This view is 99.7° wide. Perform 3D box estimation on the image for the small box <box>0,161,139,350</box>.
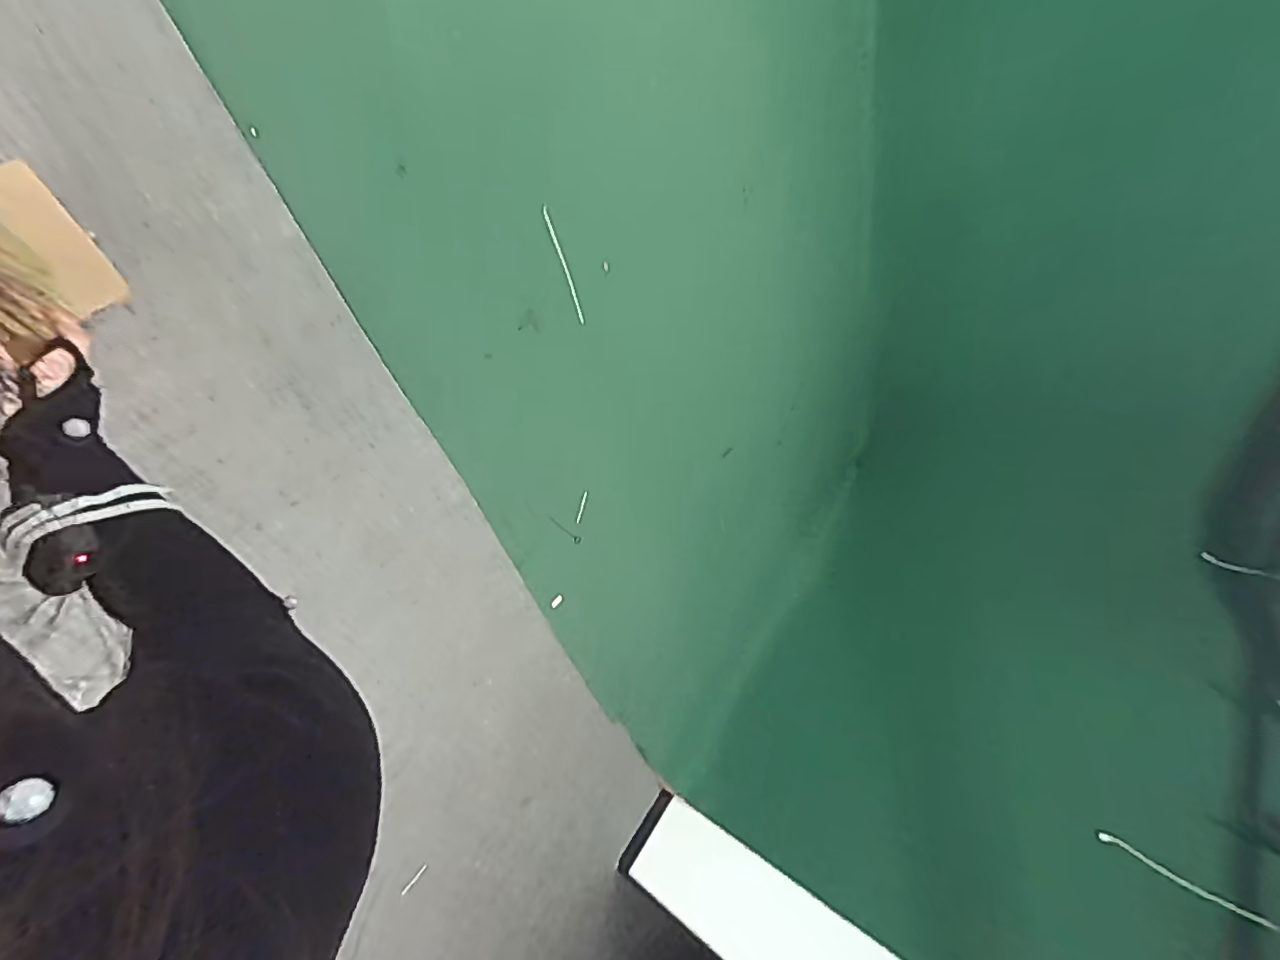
[{"bbox_3d":[-0.833,-0.295,0.713,0.168,0.176,0.179,-48,137,-32],"label":"small box"}]
